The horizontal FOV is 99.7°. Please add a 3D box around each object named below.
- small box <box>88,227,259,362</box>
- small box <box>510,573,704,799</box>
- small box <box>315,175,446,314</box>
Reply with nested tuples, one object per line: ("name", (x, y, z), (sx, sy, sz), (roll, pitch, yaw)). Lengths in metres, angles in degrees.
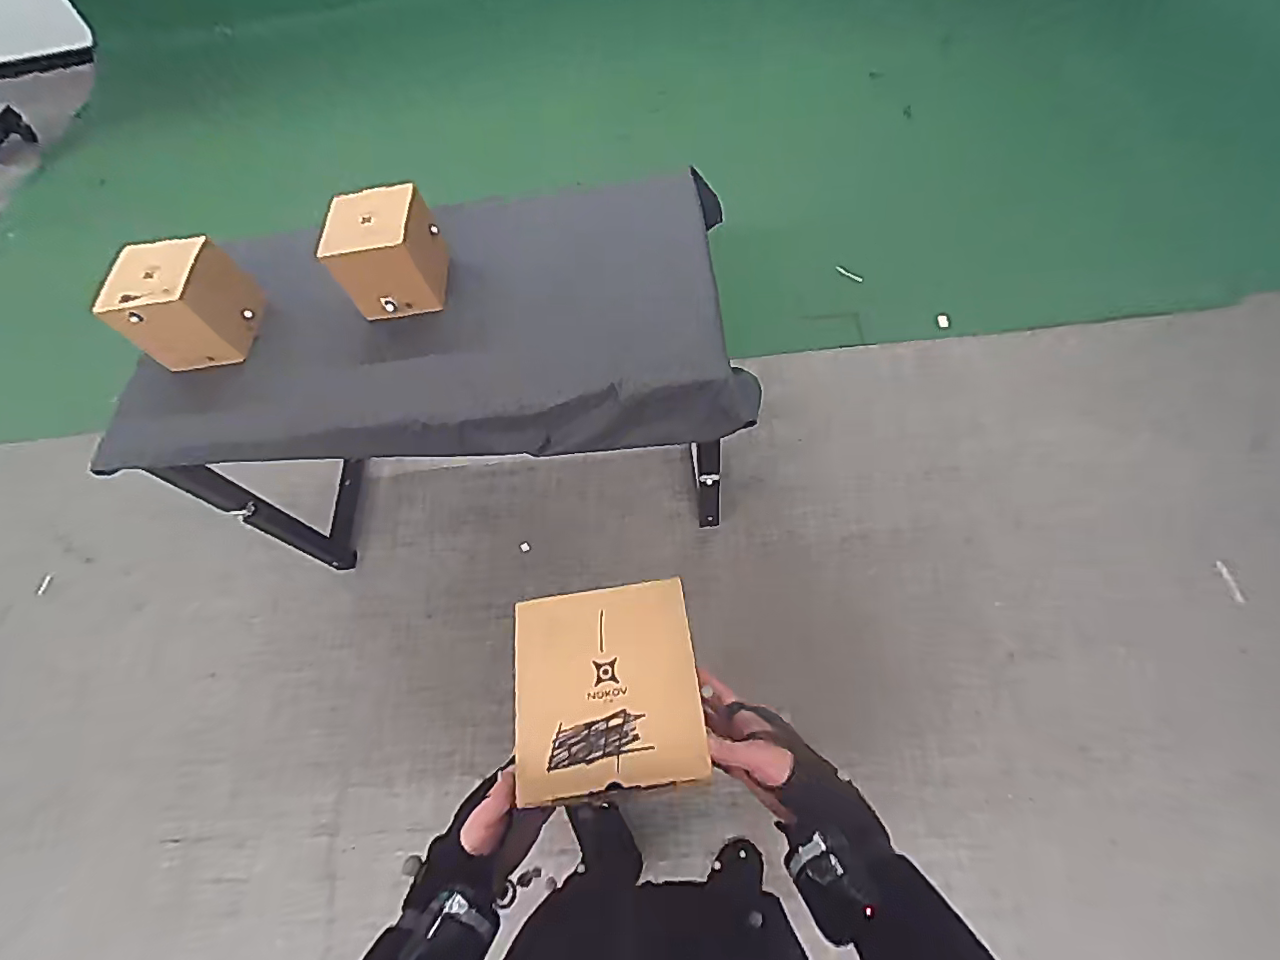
("small box", (-0.894, -0.358, 1.060), (0.168, 0.176, 0.179), (-7, 62, 3))
("small box", (-0.027, 0.214, 0.552), (0.168, 0.176, 0.179), (-8, 59, 1))
("small box", (-0.499, -0.460, 1.069), (0.168, 0.176, 0.179), (-8, 64, 4))
